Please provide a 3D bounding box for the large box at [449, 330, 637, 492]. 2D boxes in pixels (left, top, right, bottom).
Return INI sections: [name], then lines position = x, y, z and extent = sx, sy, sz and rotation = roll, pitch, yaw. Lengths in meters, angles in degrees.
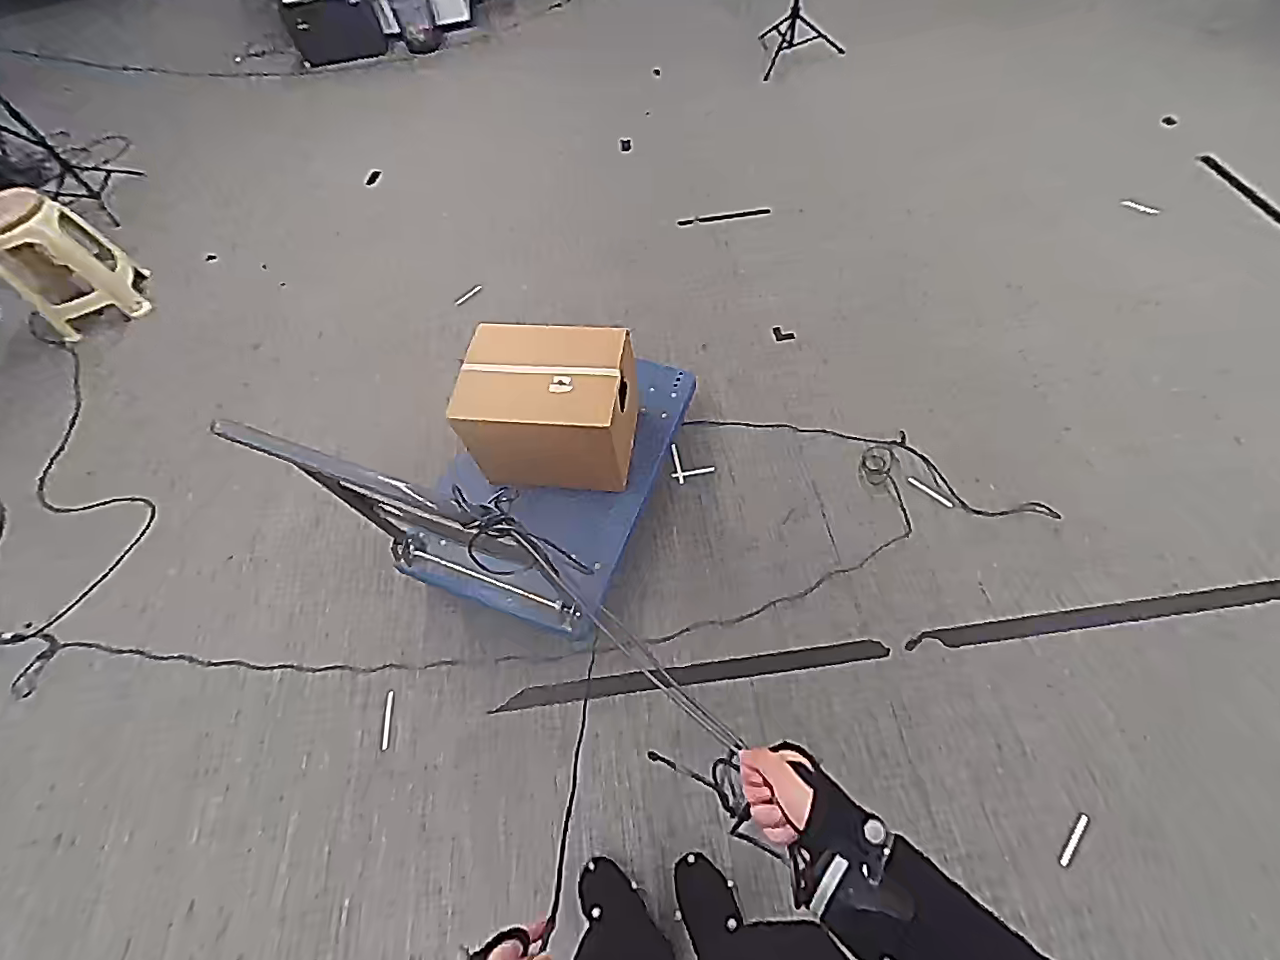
[large box]
position = -0.232, -0.180, 1.454
extent = 0.408, 0.320, 0.320
rotation = 4, 61, 7
